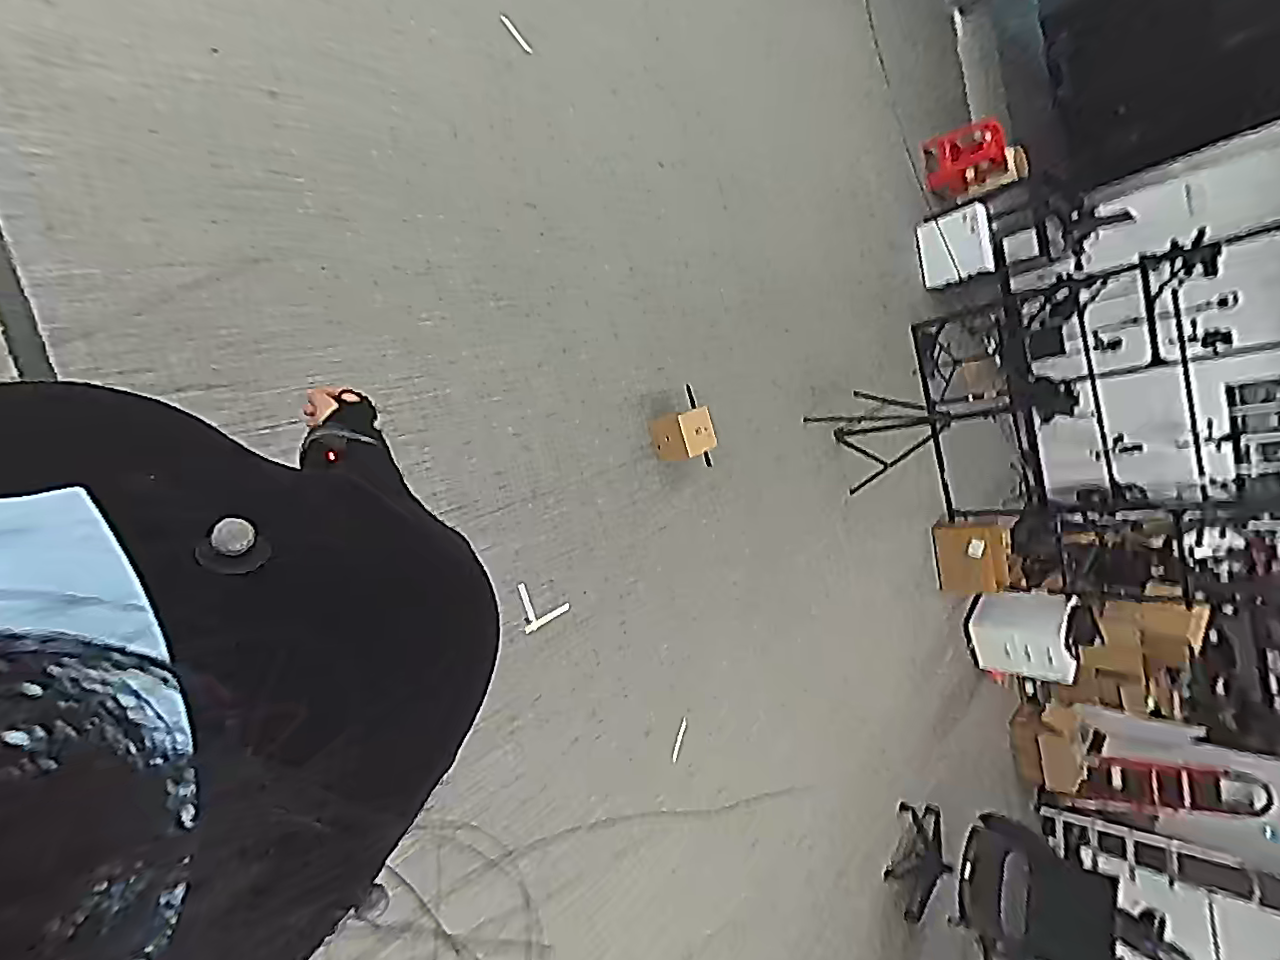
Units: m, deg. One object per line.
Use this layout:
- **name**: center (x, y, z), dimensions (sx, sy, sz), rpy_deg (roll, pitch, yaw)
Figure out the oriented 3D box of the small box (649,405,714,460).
- **small box**: center (0.154, -0.183, 2.106), dimensions (0.179, 0.176, 0.168), rpy_deg (-24, 102, -41)
